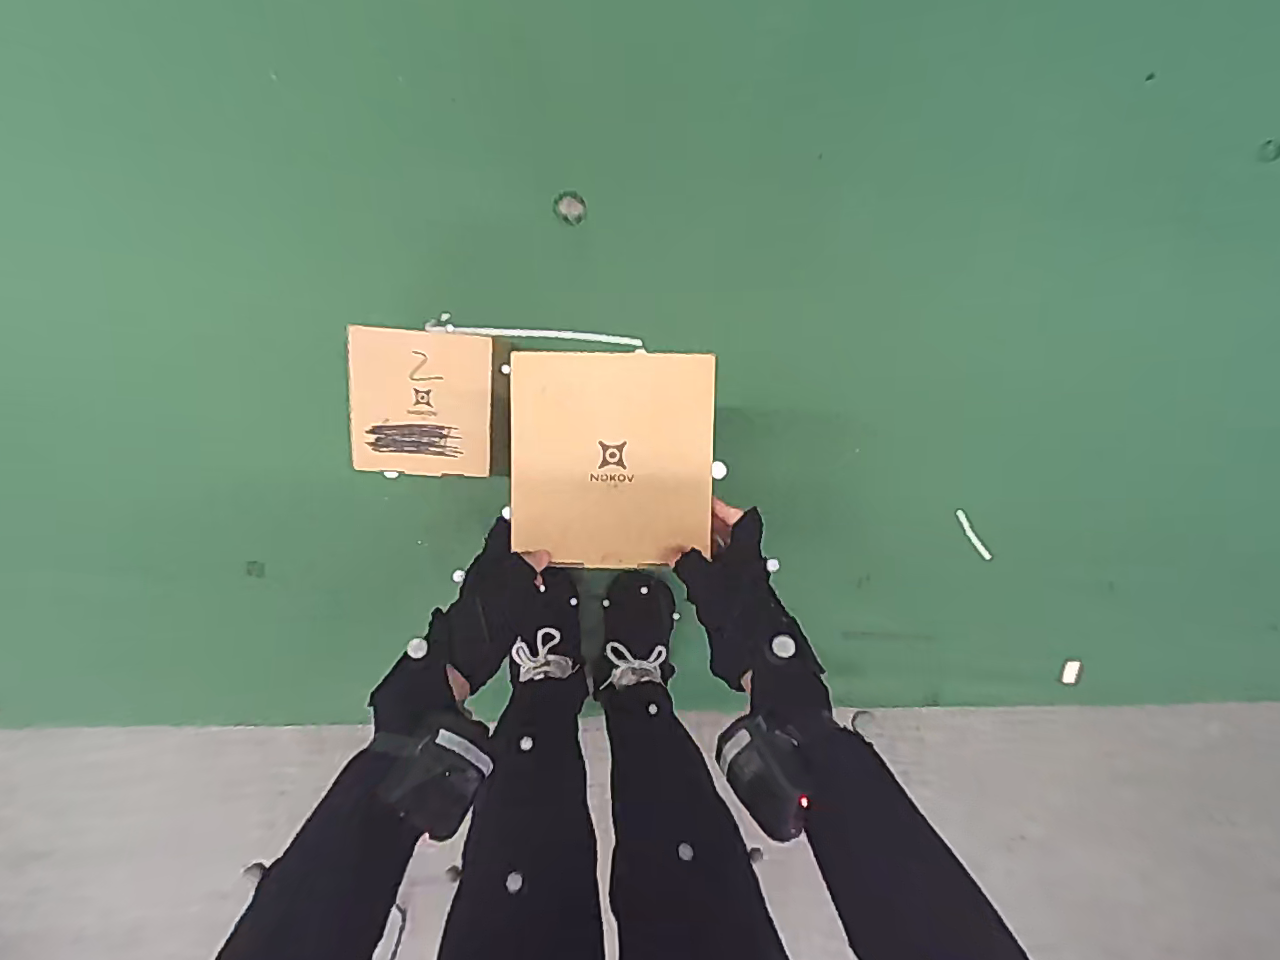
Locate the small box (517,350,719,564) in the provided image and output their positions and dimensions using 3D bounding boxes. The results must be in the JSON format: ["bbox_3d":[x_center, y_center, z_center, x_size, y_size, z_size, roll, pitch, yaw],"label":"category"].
[{"bbox_3d":[-0.021,-0.022,0.529,0.168,0.176,0.179,1,94,-1],"label":"small box"}]
